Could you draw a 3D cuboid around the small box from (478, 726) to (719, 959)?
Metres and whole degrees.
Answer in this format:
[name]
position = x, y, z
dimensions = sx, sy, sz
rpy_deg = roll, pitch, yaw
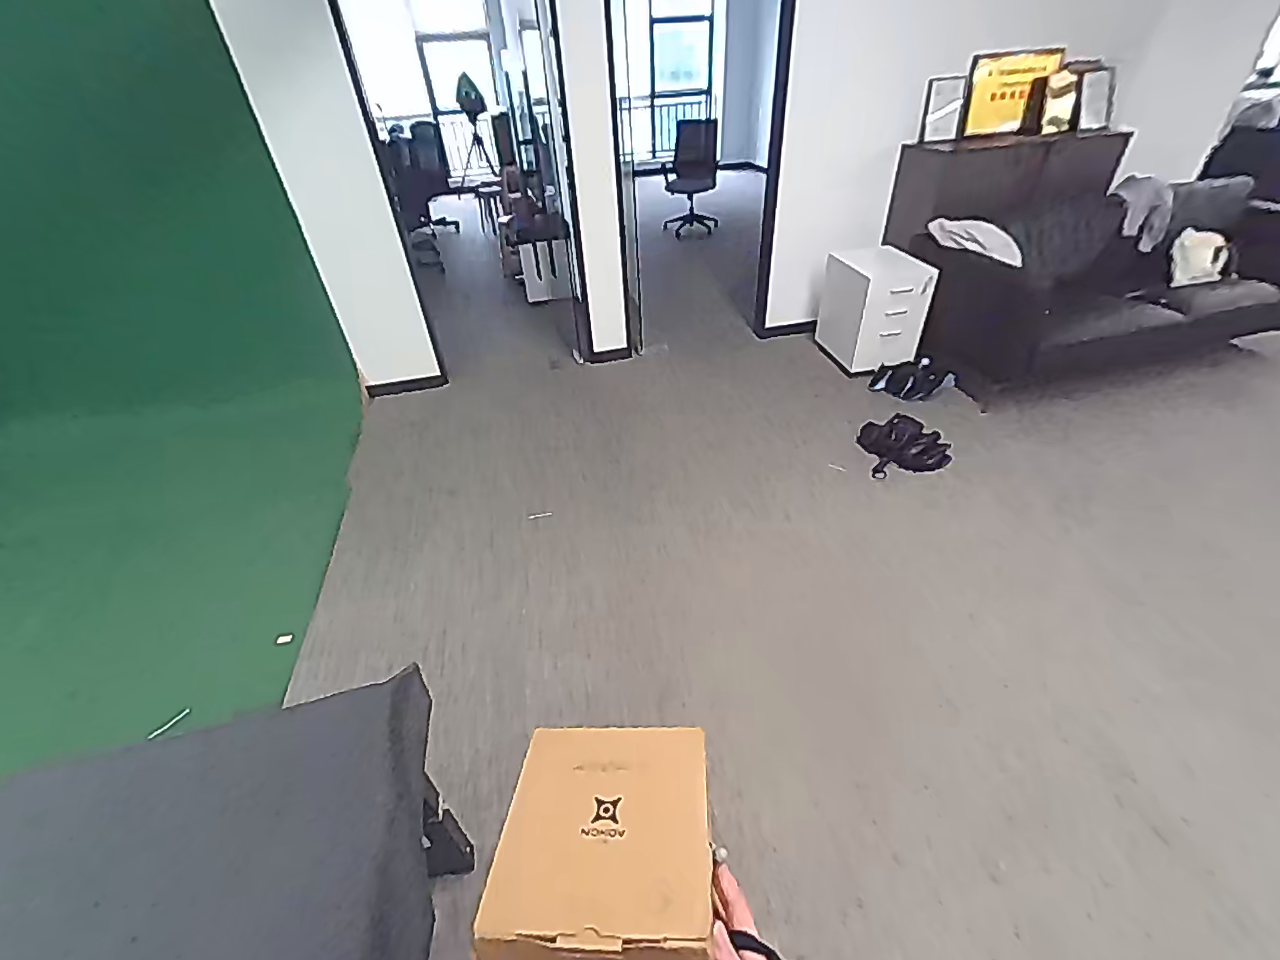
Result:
[small box]
position = -0.018, 0.344, 0.468
dimensions = 0.168, 0.176, 0.179
rpy_deg = -2, 22, 5
